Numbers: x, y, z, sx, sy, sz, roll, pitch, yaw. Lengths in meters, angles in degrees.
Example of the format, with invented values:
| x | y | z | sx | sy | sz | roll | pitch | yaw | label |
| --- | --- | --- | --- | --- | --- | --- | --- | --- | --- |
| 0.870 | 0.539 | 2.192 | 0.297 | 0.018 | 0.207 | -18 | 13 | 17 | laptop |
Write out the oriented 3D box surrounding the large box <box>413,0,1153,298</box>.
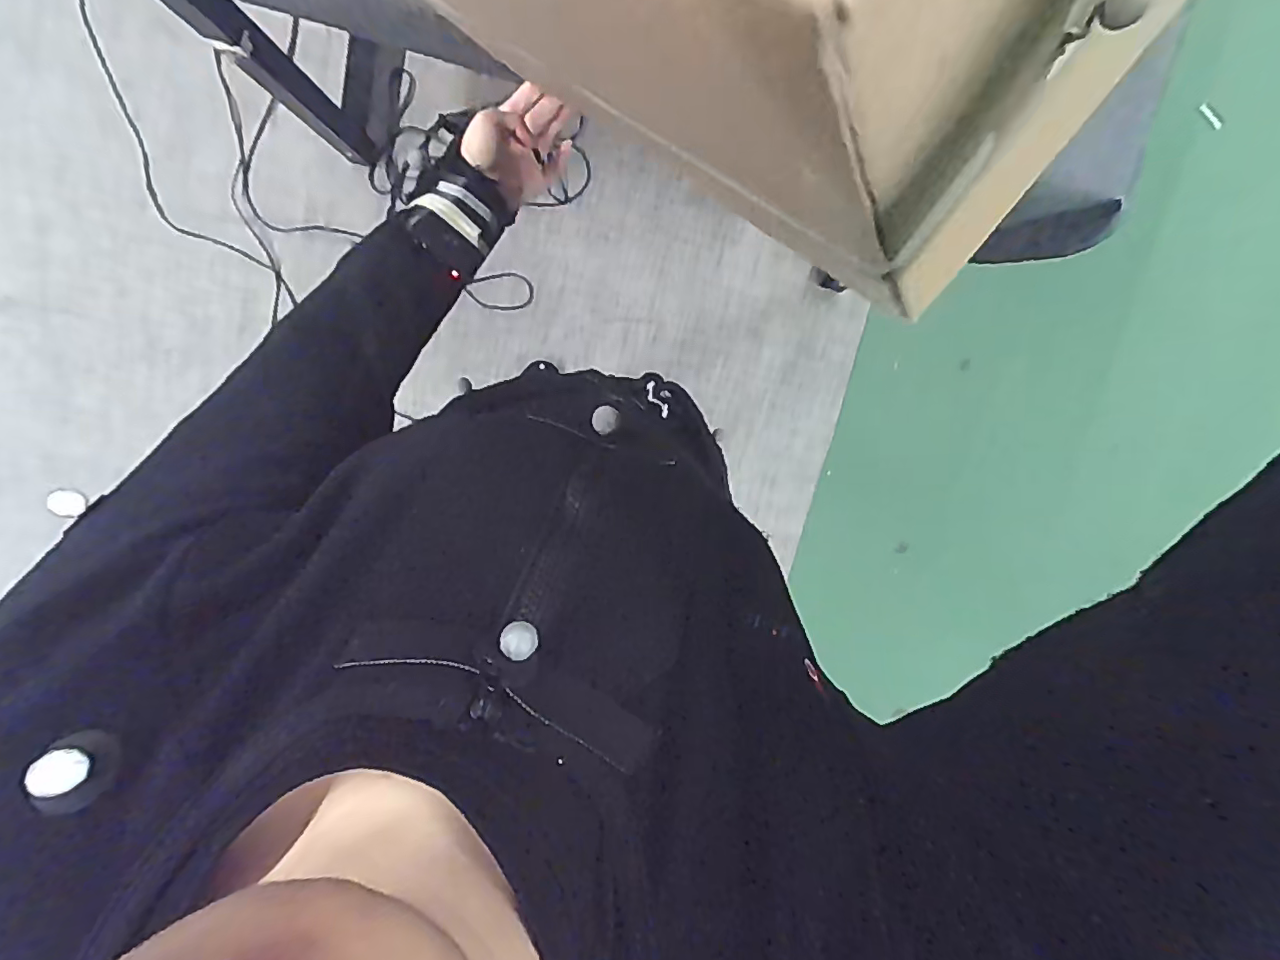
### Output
| x | y | z | sx | sy | sz | roll | pitch | yaw | label |
| --- | --- | --- | --- | --- | --- | --- | --- | --- | --- |
| 0.051 | -0.337 | 0.245 | 0.408 | 0.320 | 0.320 | 41 | 113 | 19 | large box |
